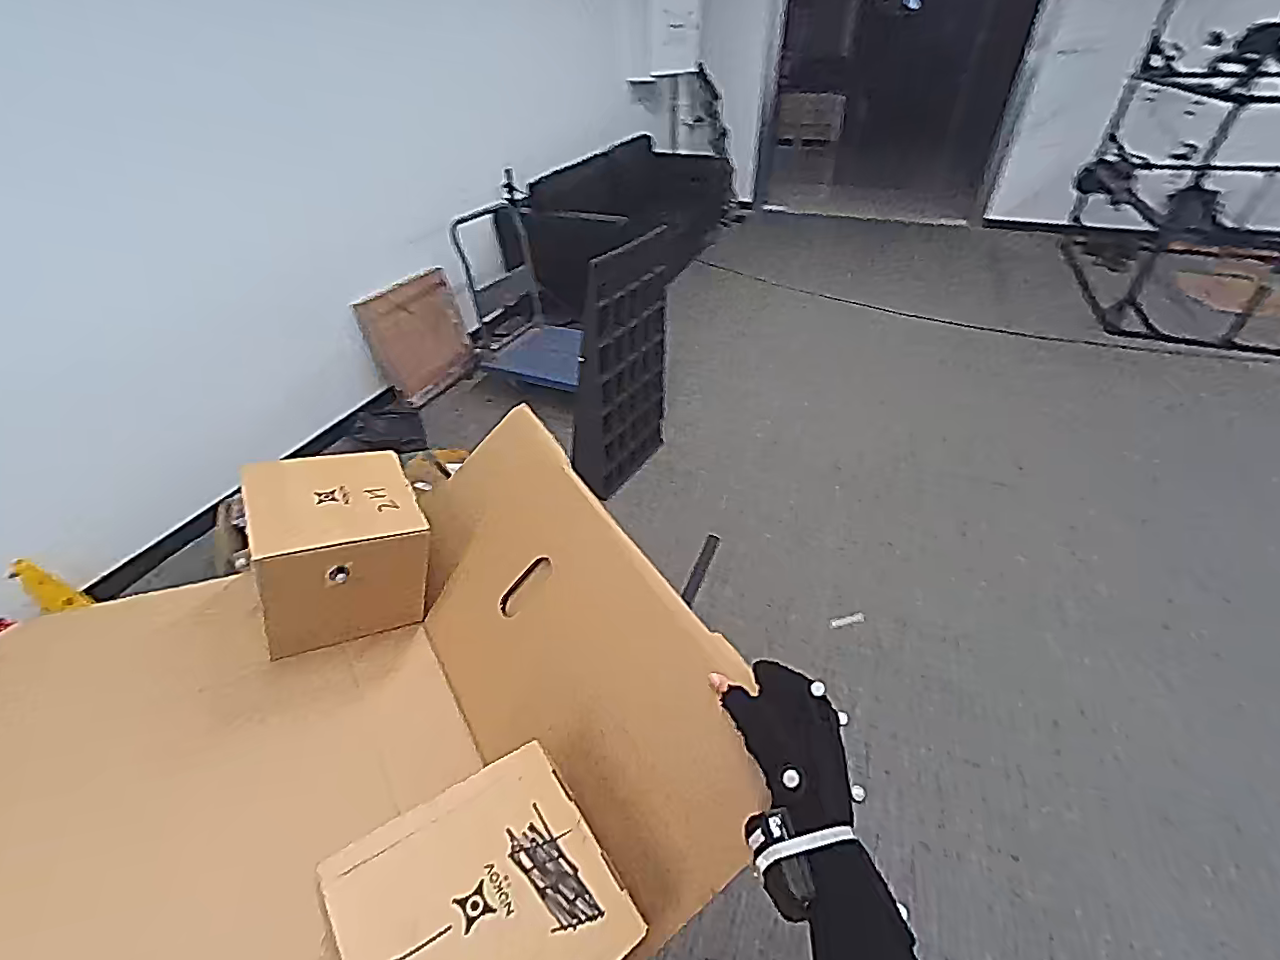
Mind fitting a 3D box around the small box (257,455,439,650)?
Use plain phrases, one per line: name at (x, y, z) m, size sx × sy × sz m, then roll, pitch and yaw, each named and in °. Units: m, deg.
small box at (-0.367, 0.087, 0.684) m, size 0.179 × 0.176 × 0.168 m, roll -7°, pitch 42°, yaw -34°
